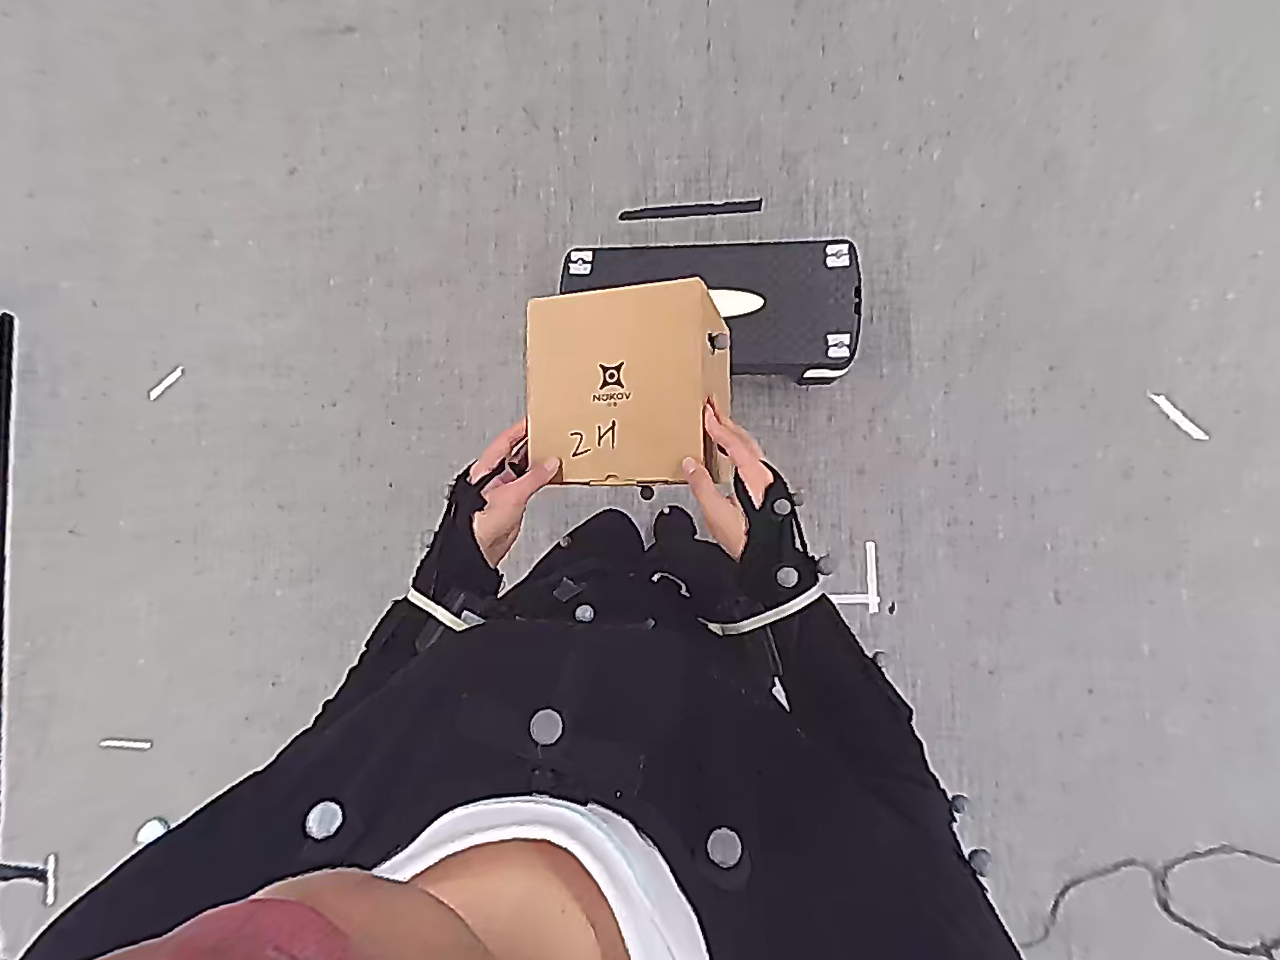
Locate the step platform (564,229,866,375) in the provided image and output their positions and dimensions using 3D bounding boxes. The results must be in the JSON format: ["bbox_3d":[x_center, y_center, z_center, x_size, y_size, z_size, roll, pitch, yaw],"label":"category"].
[{"bbox_3d":[0.164,-0.406,1.275,0.684,0.204,0.286,0,88,6],"label":"step platform"}]

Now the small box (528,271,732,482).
[{"bbox_3d":[-0.001,-0.087,0.550,0.168,0.176,0.179,-1,89,18],"label":"small box"}]
